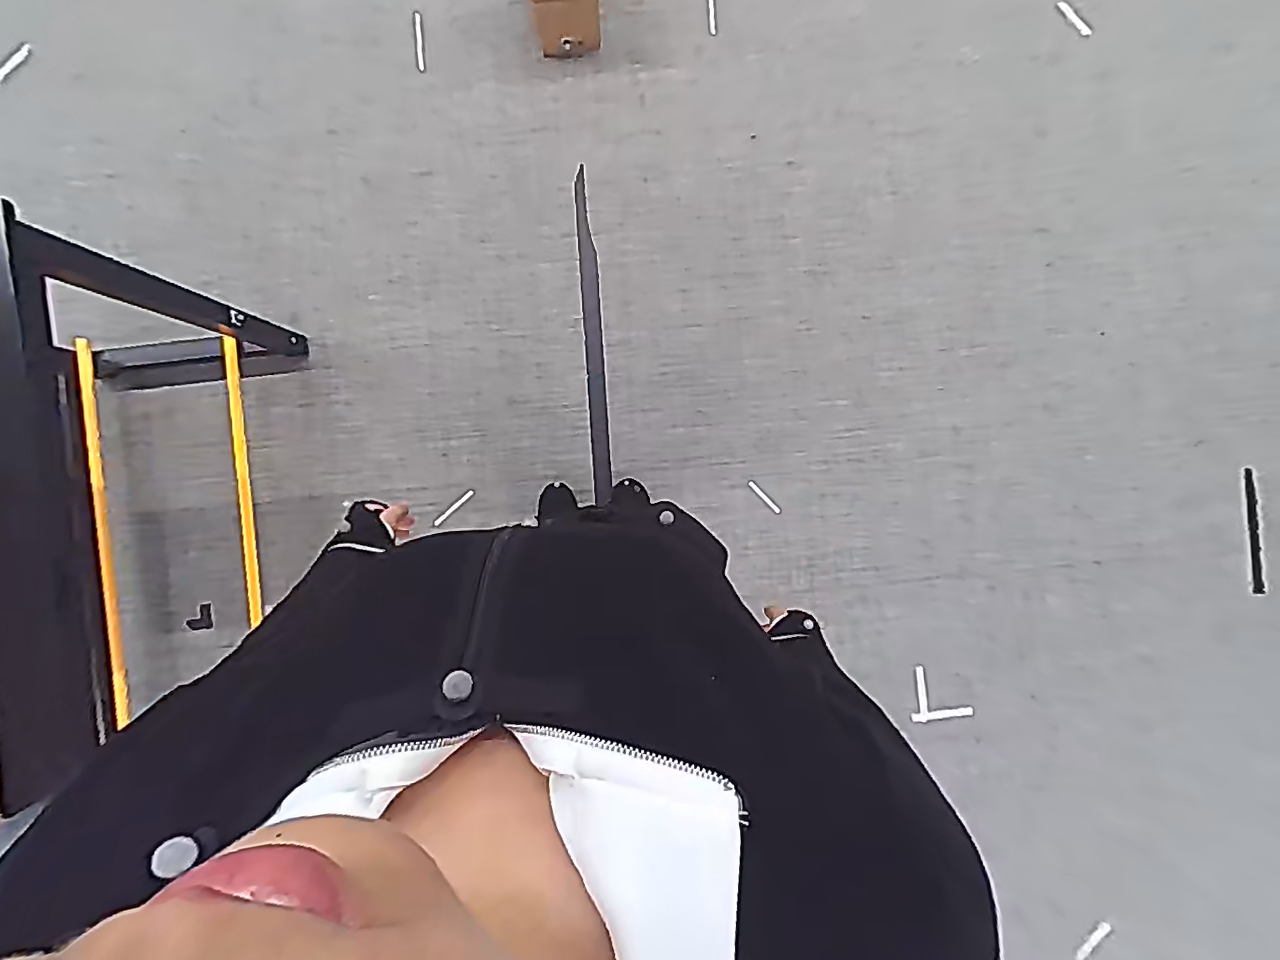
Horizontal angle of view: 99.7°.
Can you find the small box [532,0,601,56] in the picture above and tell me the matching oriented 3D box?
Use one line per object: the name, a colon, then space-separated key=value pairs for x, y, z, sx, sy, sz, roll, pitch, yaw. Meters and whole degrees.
small box: x=-0.196 y=-1.245 z=1.388 sx=0.168 sy=0.176 sz=0.179 roll=-10 pitch=93 yaw=0
